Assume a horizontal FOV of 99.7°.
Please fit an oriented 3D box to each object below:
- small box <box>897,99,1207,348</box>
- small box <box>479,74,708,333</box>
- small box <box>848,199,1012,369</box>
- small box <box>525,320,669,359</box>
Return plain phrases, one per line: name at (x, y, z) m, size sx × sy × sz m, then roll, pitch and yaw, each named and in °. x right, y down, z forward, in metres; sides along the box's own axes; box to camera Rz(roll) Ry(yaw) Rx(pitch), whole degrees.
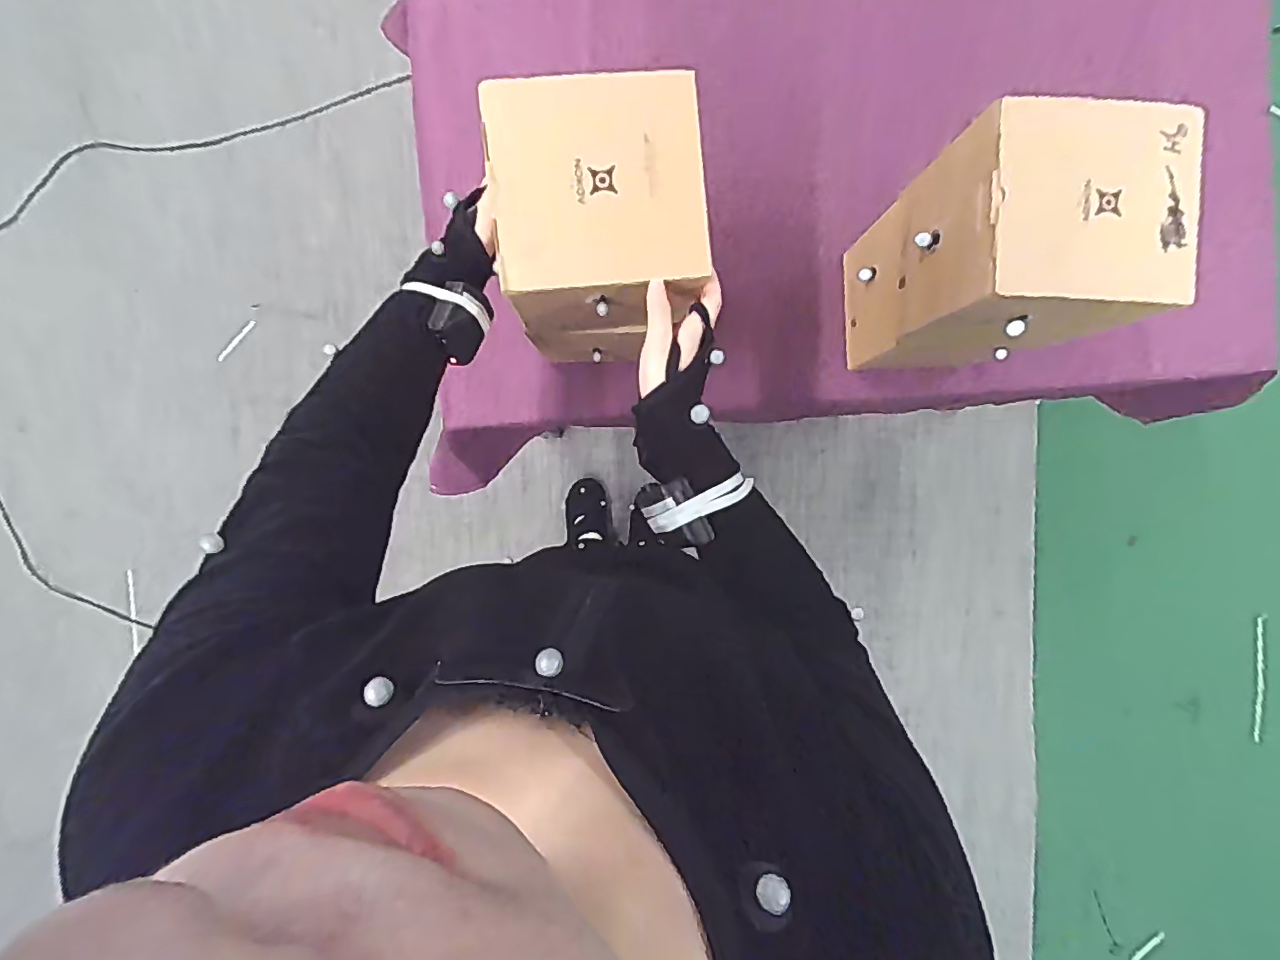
small box at (0.374, -0.229, 0.525) m, size 0.179 × 0.176 × 0.168 m, roll 3°, pitch 92°, yaw -1°
small box at (-0.039, -0.242, 0.514) m, size 0.179 × 0.176 × 0.168 m, roll -5°, pitch 94°, yaw -3°
small box at (0.378, -0.238, 0.689) m, size 0.179 × 0.176 × 0.168 m, roll -2°, pitch 92°, yaw -1°
small box at (-0.049, -0.251, 0.679) m, size 0.168 × 0.176 × 0.179 m, roll -1°, pitch 92°, yaw -2°
